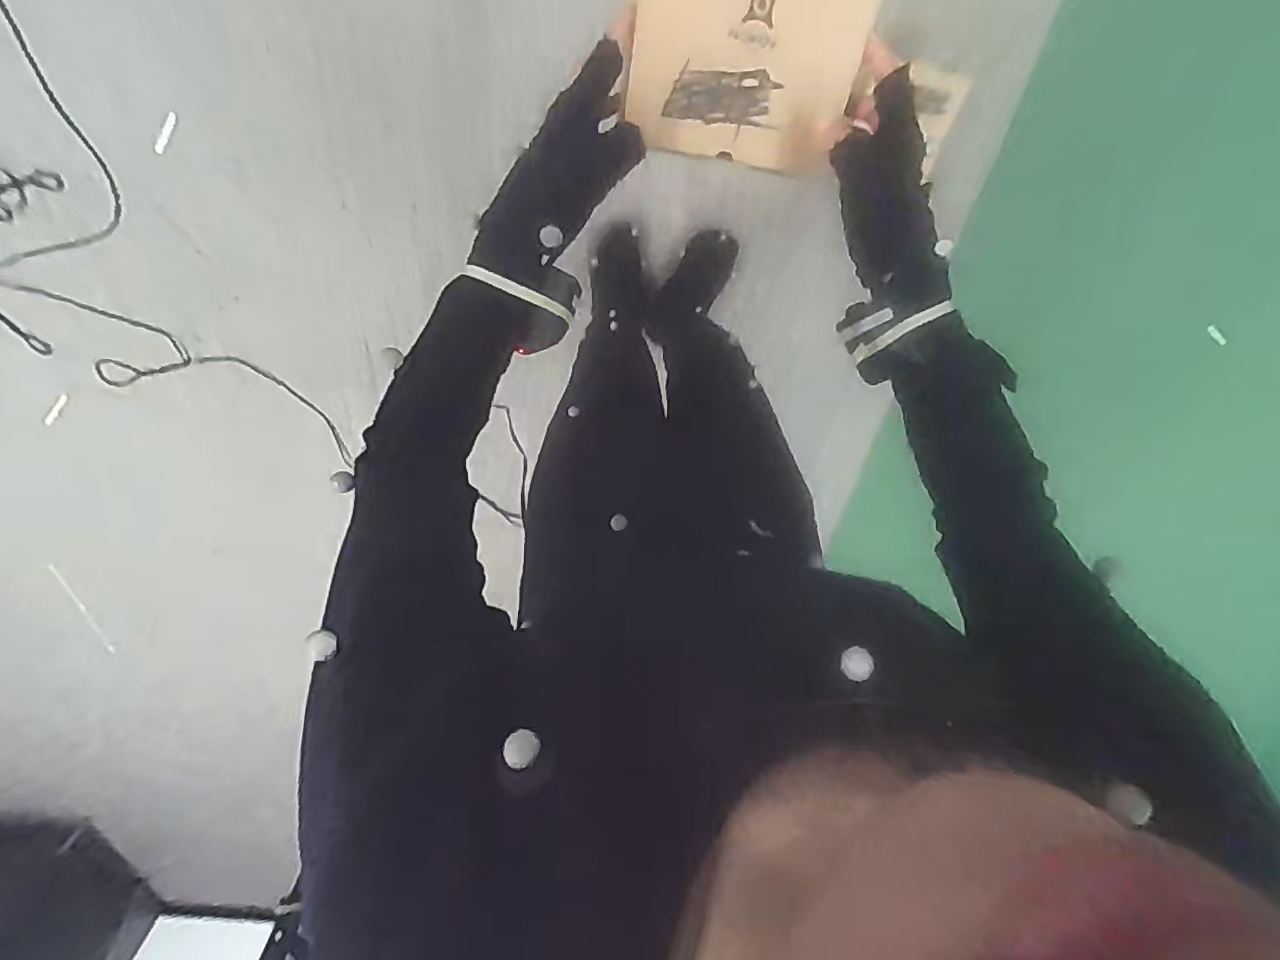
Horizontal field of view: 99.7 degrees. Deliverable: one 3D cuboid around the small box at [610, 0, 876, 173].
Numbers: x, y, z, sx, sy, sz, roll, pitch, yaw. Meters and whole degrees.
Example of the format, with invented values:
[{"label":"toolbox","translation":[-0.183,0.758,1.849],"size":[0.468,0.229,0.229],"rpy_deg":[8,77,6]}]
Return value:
[{"label":"small box","translation":[0.070,-0.365,0.419],"size":[0.168,0.176,0.179],"rpy_deg":[5,129,-9]}]
